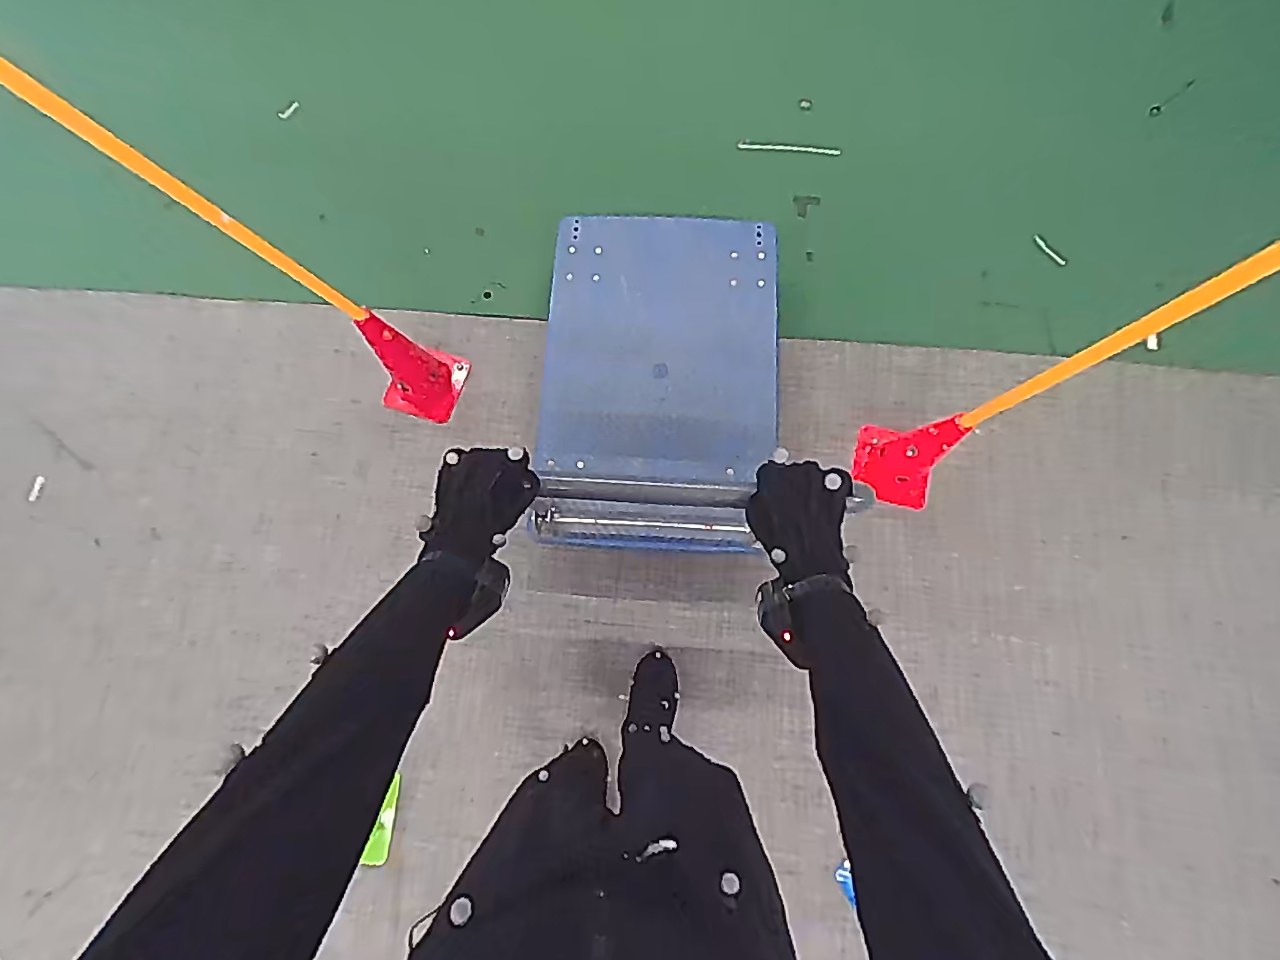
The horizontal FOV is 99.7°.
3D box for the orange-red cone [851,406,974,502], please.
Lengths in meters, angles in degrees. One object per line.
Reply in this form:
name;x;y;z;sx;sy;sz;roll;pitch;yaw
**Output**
orange-red cone;0.661;-0.092;1.254;0.198;0.360;0.199;15;79;6
